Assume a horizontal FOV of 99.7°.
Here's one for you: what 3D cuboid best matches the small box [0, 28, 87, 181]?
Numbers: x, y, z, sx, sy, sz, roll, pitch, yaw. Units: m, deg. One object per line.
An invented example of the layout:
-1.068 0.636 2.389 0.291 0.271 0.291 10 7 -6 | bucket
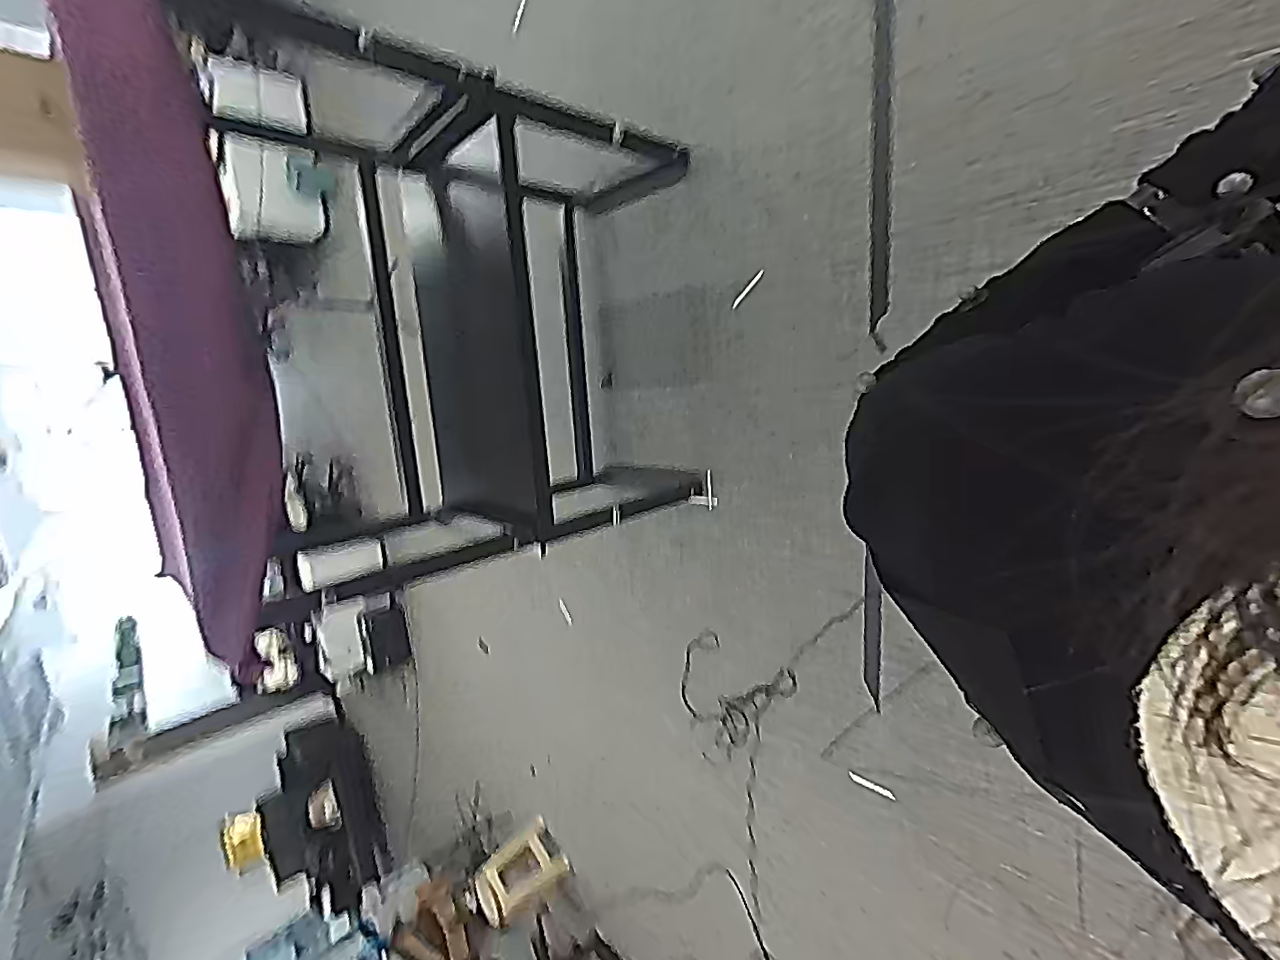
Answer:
-1.049 -0.622 0.890 0.168 0.176 0.179 9 106 46 | small box
